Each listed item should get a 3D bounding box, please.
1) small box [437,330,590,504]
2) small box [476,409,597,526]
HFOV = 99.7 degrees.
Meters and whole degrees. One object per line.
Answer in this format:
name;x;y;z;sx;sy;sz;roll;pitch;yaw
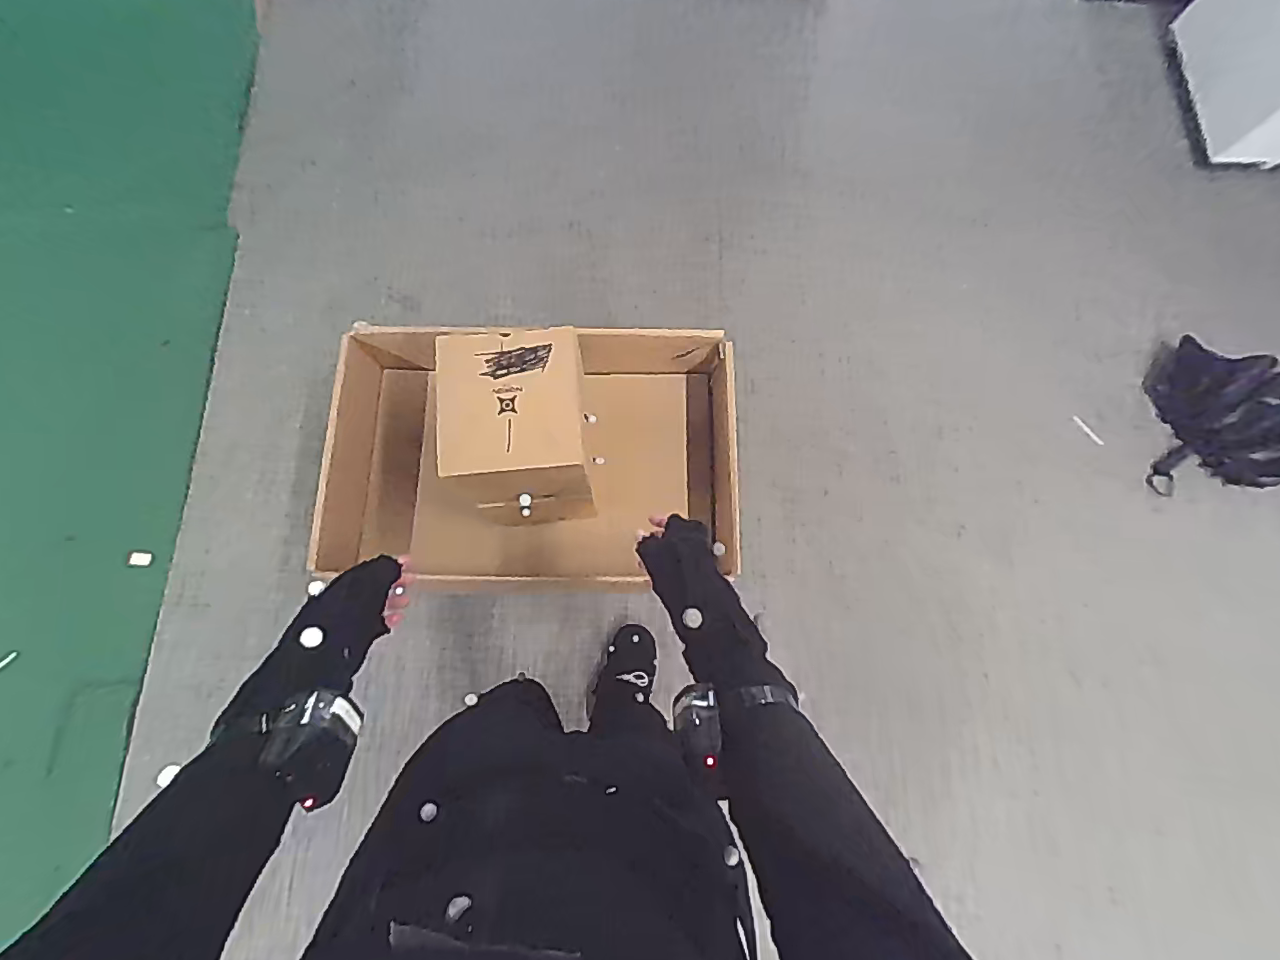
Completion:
small box;-0.156;-0.075;0.710;0.168;0.176;0.179;-5;77;-2
small box;-0.161;-0.033;0.869;0.168;0.176;0.179;-6;76;-1
